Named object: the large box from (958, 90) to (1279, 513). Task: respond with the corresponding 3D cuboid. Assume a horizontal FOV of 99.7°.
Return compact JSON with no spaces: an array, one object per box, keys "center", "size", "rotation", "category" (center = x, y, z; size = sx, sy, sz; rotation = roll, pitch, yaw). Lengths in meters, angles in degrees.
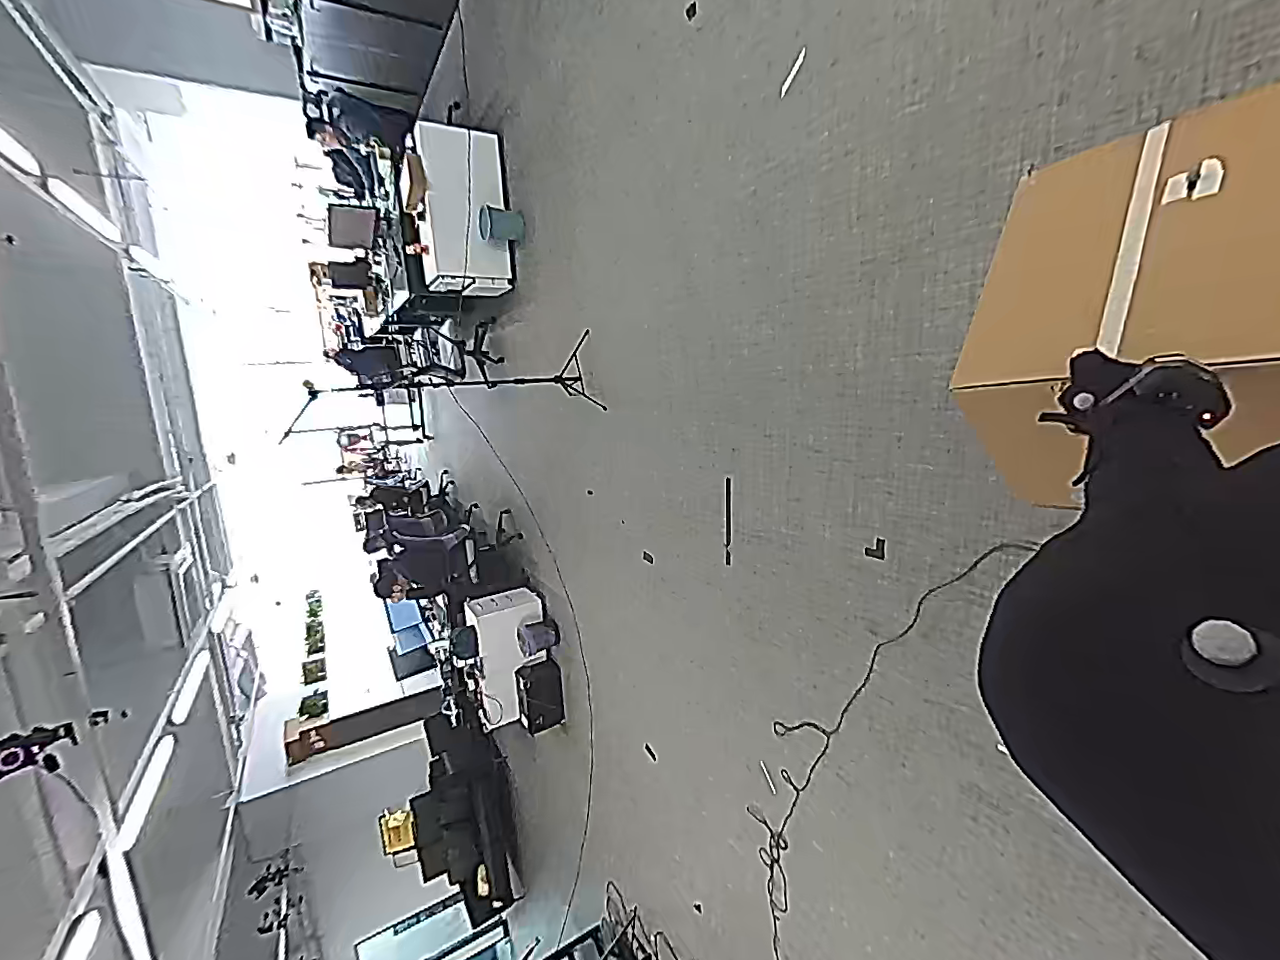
[{"center":[0.696,-0.204,0.725],"size":[0.320,0.320,0.408],"rotation":[4,61,54],"category":"large box"}]
